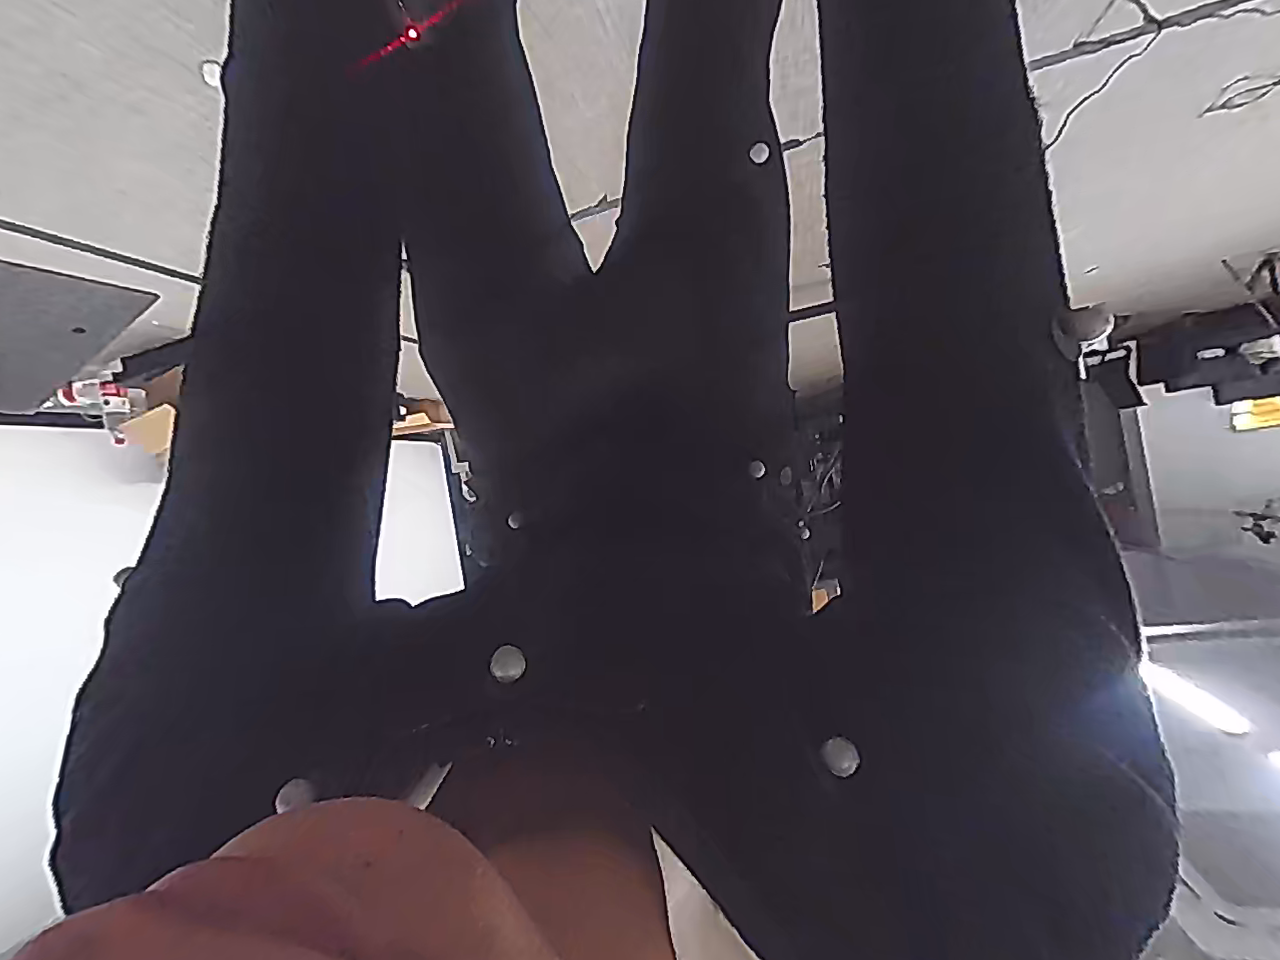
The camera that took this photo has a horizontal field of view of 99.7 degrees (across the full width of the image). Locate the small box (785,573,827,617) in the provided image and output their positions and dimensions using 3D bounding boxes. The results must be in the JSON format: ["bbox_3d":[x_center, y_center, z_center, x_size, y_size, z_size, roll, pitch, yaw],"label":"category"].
[{"bbox_3d":[0.807,0.555,2.639,0.168,0.176,0.179,-10,179,11],"label":"small box"}]
